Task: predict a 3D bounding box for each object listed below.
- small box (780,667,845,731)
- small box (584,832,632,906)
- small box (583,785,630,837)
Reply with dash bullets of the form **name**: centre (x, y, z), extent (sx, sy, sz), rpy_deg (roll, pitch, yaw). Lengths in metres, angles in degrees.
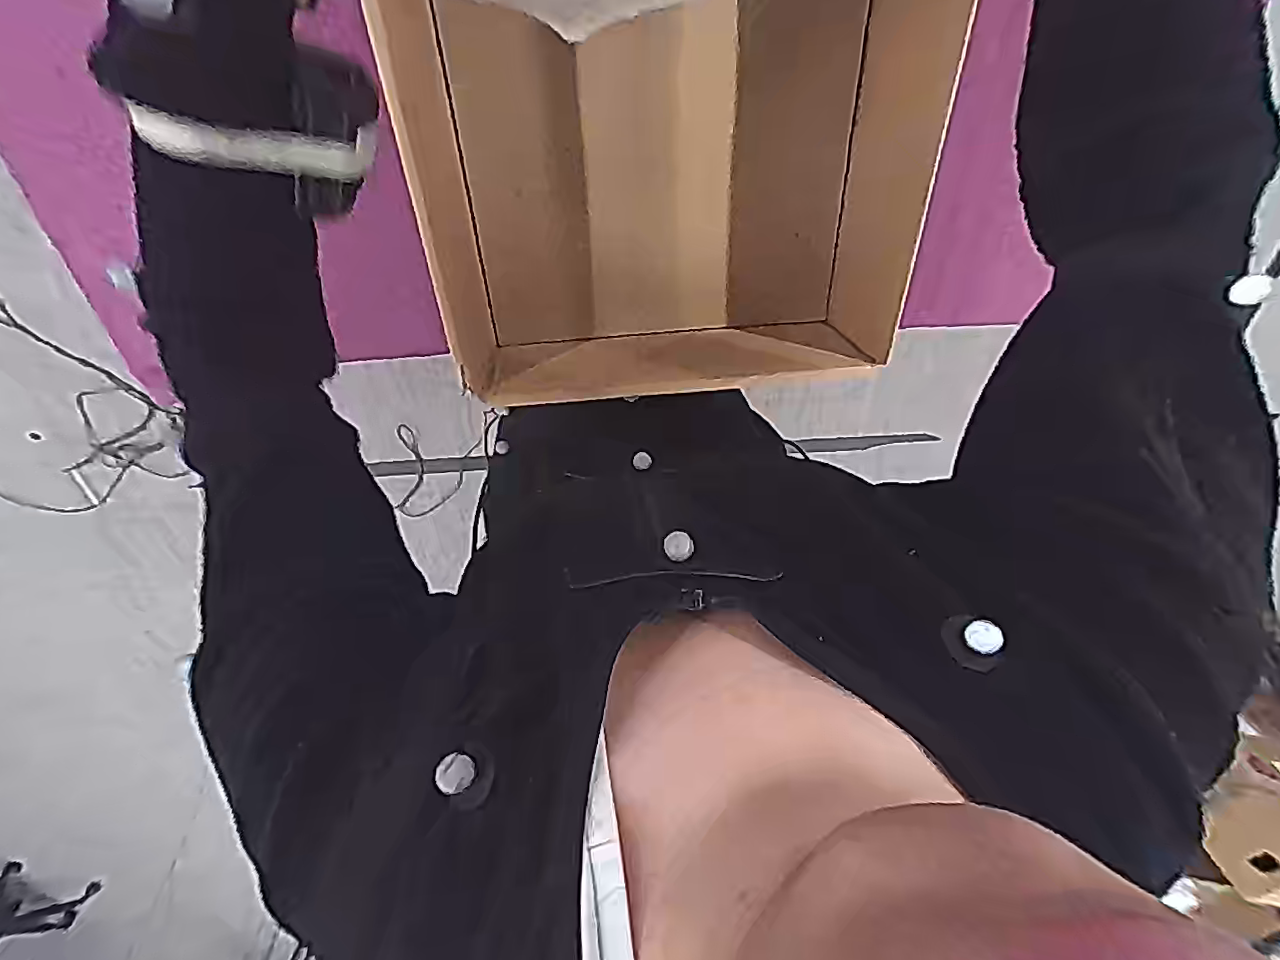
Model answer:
- **small box**: centre (0.725, 0.922, 2.282), extent (0.179, 0.176, 0.168), rpy_deg (34, 115, -24)
- **small box**: centre (-0.118, 1.397, 1.952), extent (0.168, 0.176, 0.179), rpy_deg (-2, 123, -5)
- **small box**: centre (-0.133, 1.296, 2.081), extent (0.168, 0.176, 0.179), rpy_deg (1, 125, -7)
